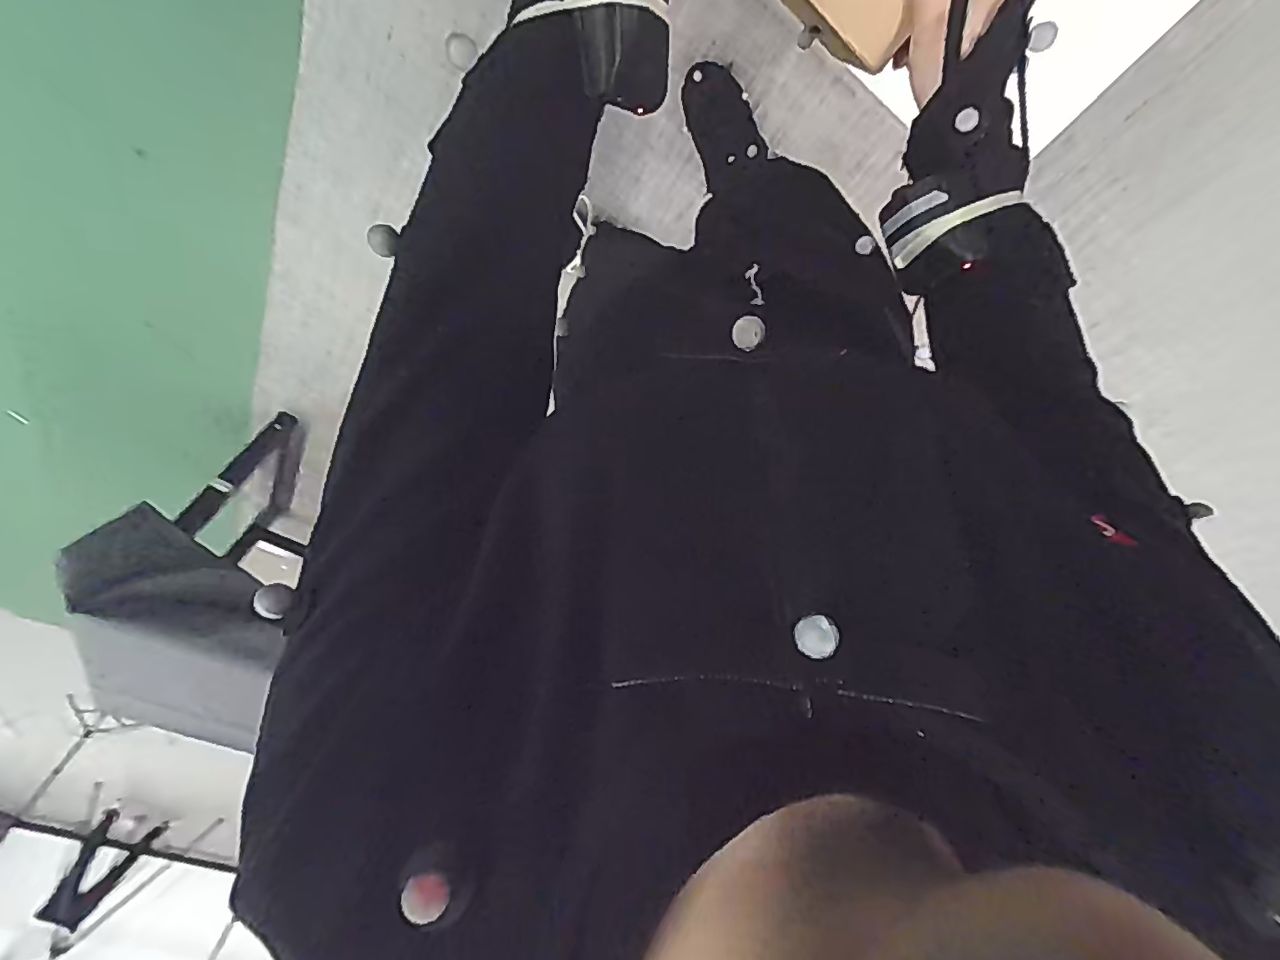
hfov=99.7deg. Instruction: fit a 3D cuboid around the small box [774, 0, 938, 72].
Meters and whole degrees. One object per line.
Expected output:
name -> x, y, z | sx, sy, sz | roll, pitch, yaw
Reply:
small box -> 0.142, -0.413, 0.347 | 0.179, 0.176, 0.168 | 31, 127, -18
